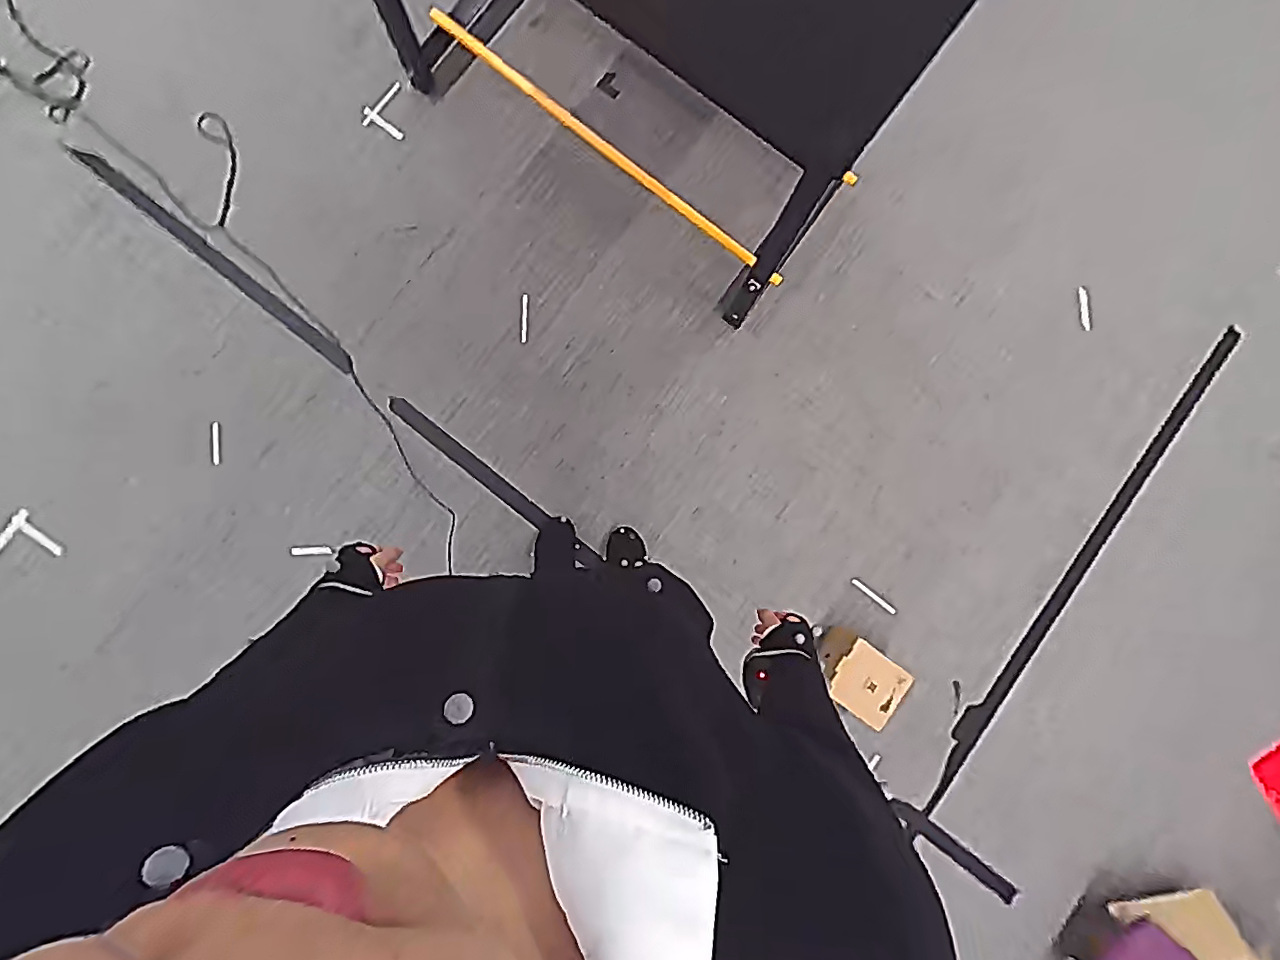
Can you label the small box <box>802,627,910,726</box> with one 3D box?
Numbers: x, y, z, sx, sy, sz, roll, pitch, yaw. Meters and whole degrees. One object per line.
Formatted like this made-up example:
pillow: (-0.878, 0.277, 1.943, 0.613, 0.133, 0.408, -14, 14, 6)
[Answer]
small box: (0.563, 0.510, 1.439, 0.179, 0.176, 0.168, 37, 85, 0)
